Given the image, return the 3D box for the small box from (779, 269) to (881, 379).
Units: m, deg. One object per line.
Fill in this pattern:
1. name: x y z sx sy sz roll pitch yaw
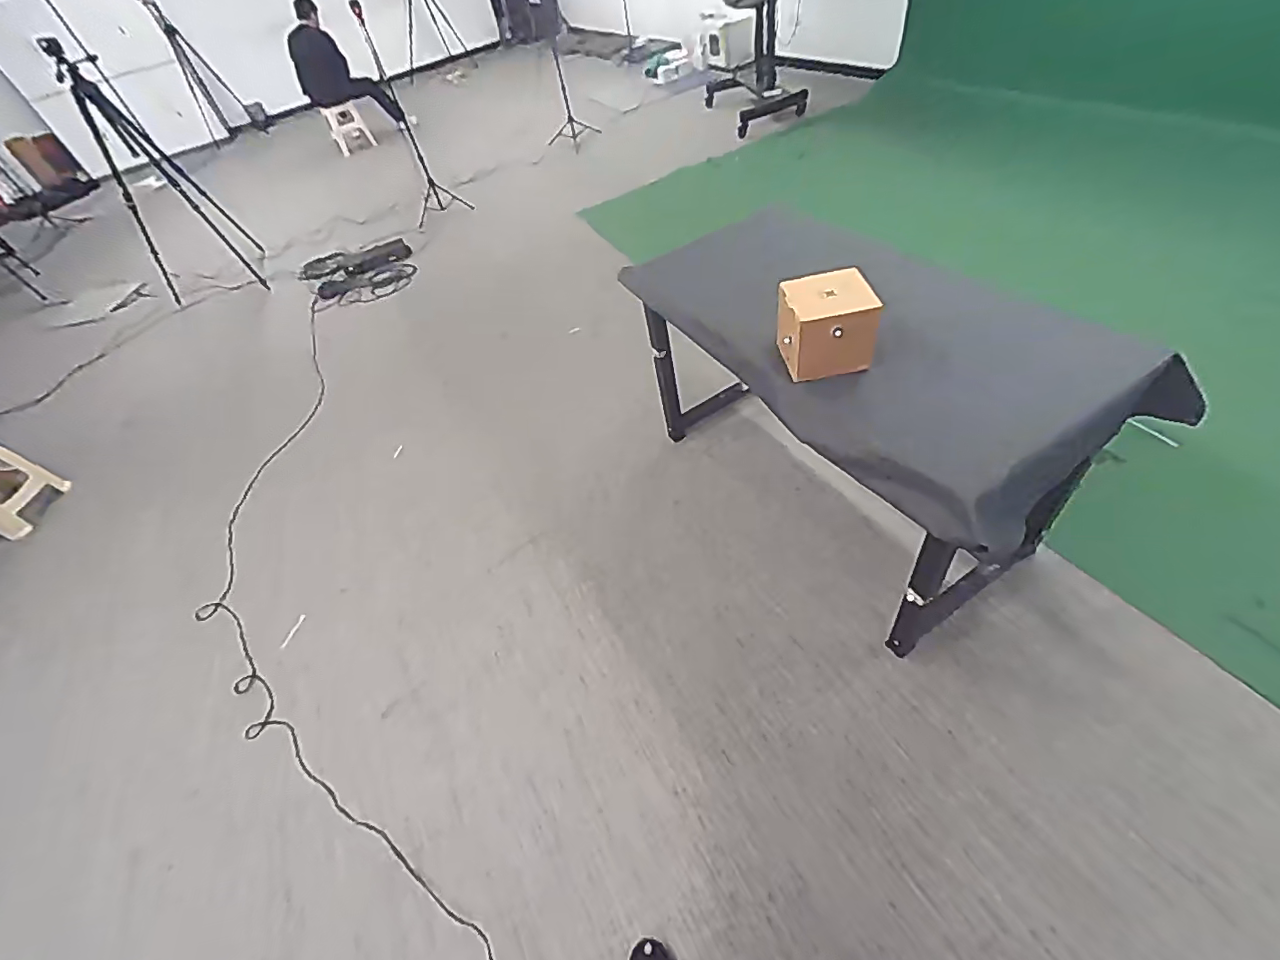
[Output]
1. small box: 0.420 -0.348 1.228 0.179 0.176 0.168 -10 49 3
